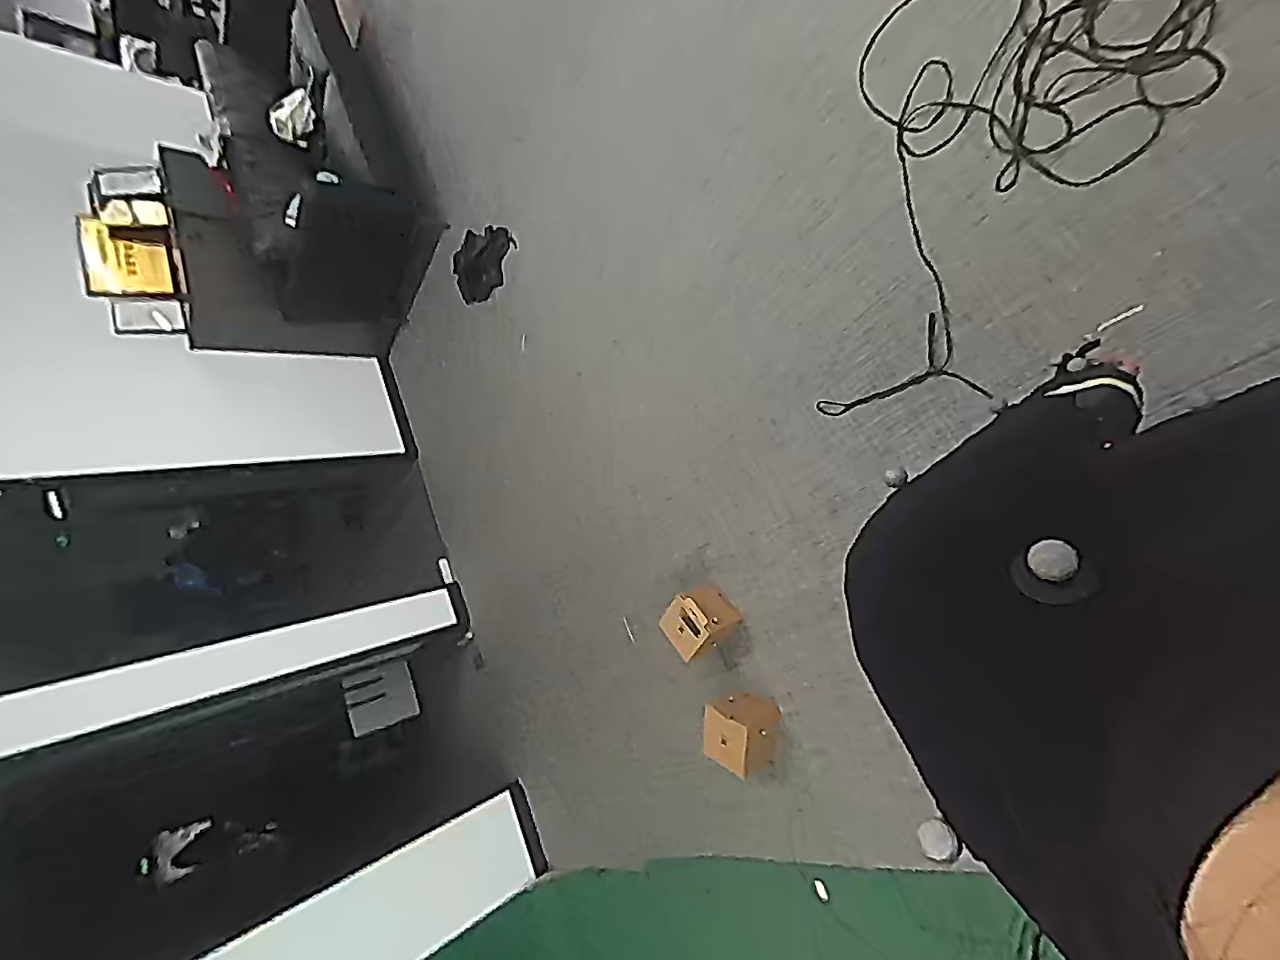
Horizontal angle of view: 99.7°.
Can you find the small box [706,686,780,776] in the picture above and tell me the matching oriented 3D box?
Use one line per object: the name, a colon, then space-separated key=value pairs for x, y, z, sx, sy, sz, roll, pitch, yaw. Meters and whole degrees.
small box: x=0.330 y=0.786 z=1.719 sx=0.168 sy=0.176 sz=0.179 roll=13 pitch=106 yaw=47
